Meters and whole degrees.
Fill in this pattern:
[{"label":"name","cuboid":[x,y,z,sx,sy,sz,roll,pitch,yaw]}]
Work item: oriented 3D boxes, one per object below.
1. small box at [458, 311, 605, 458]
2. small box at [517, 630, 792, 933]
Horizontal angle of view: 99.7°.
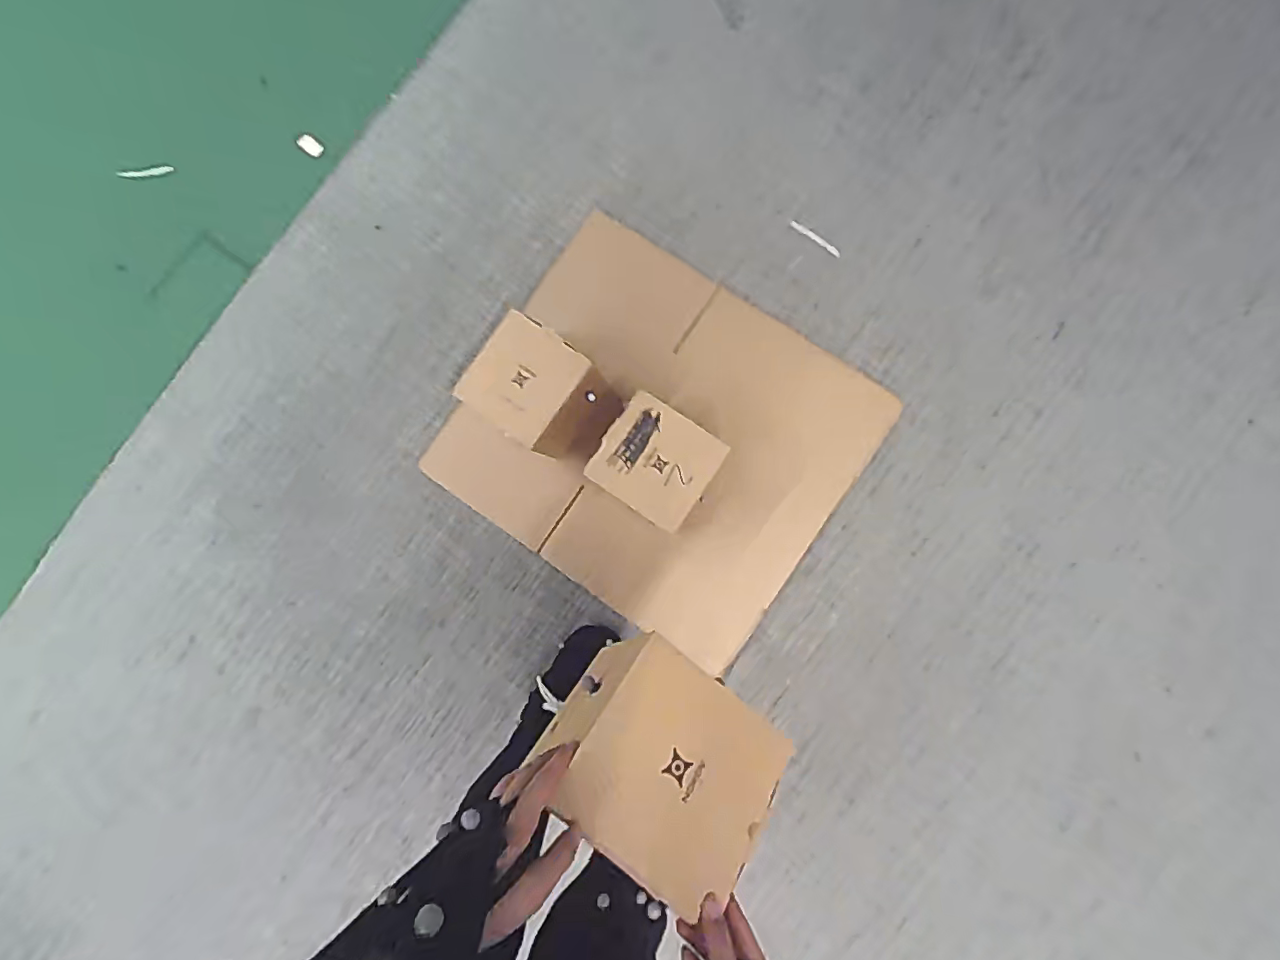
[{"label":"small box","cuboid":[-0.176,-0.156,0.947,0.168,0.176,0.179,35,91,7]},{"label":"small box","cuboid":[0.004,0.274,0.522,0.179,0.176,0.168,40,59,-4]}]
